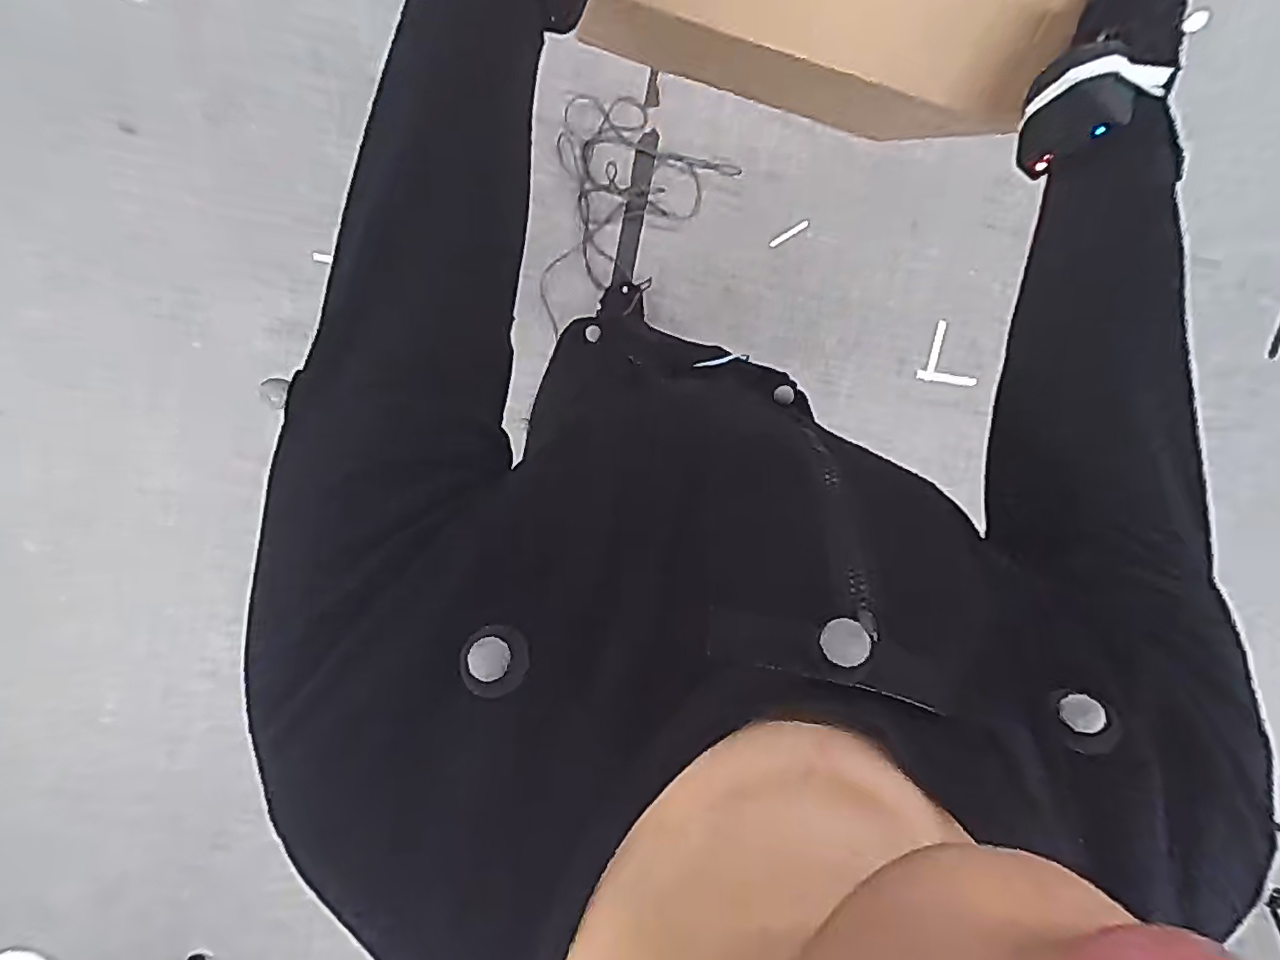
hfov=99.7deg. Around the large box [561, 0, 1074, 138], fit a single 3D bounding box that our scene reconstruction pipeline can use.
[{"bbox_3d":[0.154,-0.538,0.484,0.408,0.320,0.320,12,121,-8],"label":"large box"}]
